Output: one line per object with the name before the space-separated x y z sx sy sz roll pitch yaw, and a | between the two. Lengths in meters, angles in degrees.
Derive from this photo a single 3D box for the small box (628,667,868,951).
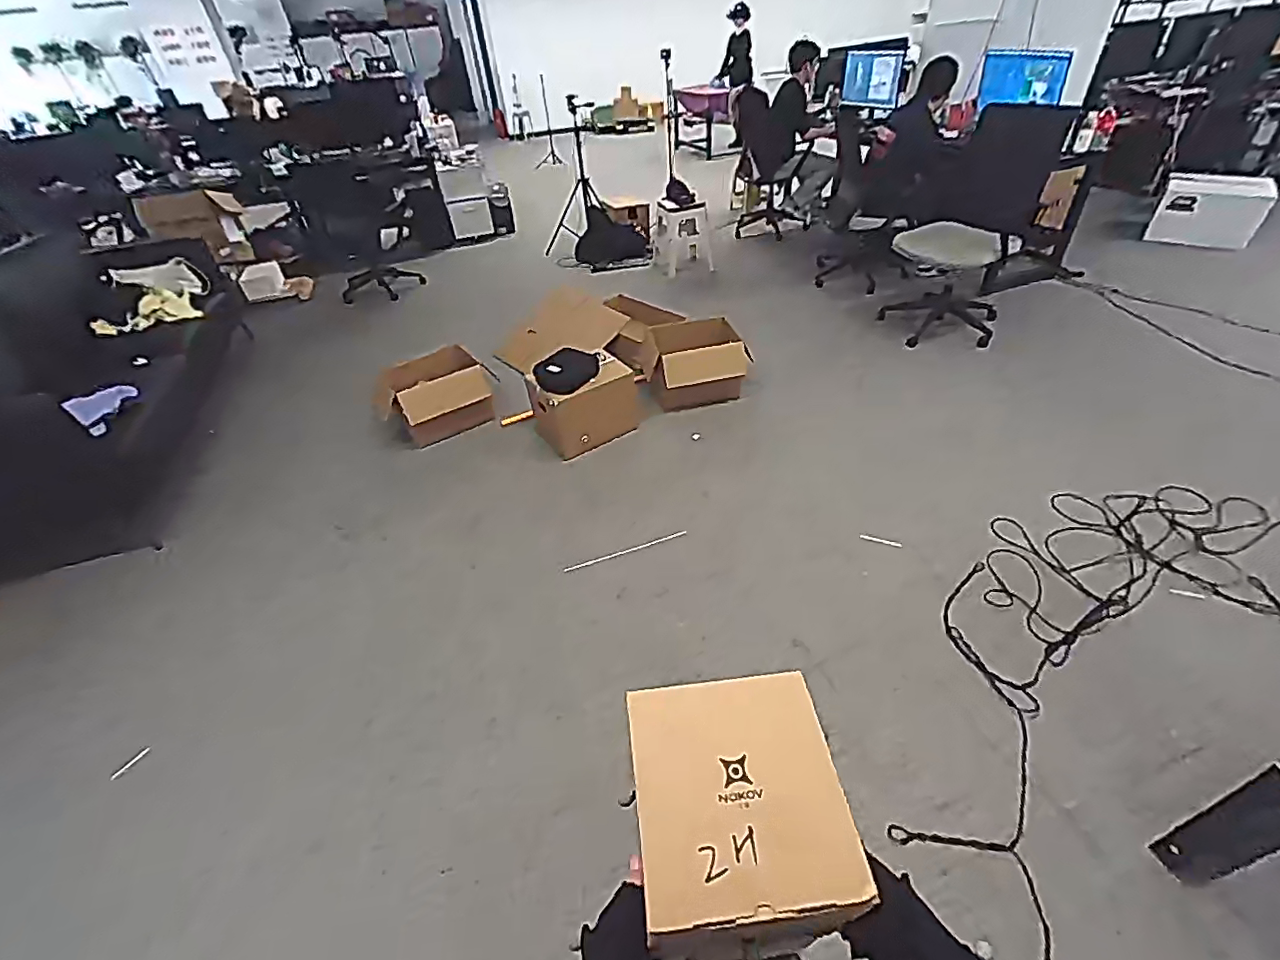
small box | 0.077 0.299 0.496 0.168 0.176 0.179 -6 43 -2
